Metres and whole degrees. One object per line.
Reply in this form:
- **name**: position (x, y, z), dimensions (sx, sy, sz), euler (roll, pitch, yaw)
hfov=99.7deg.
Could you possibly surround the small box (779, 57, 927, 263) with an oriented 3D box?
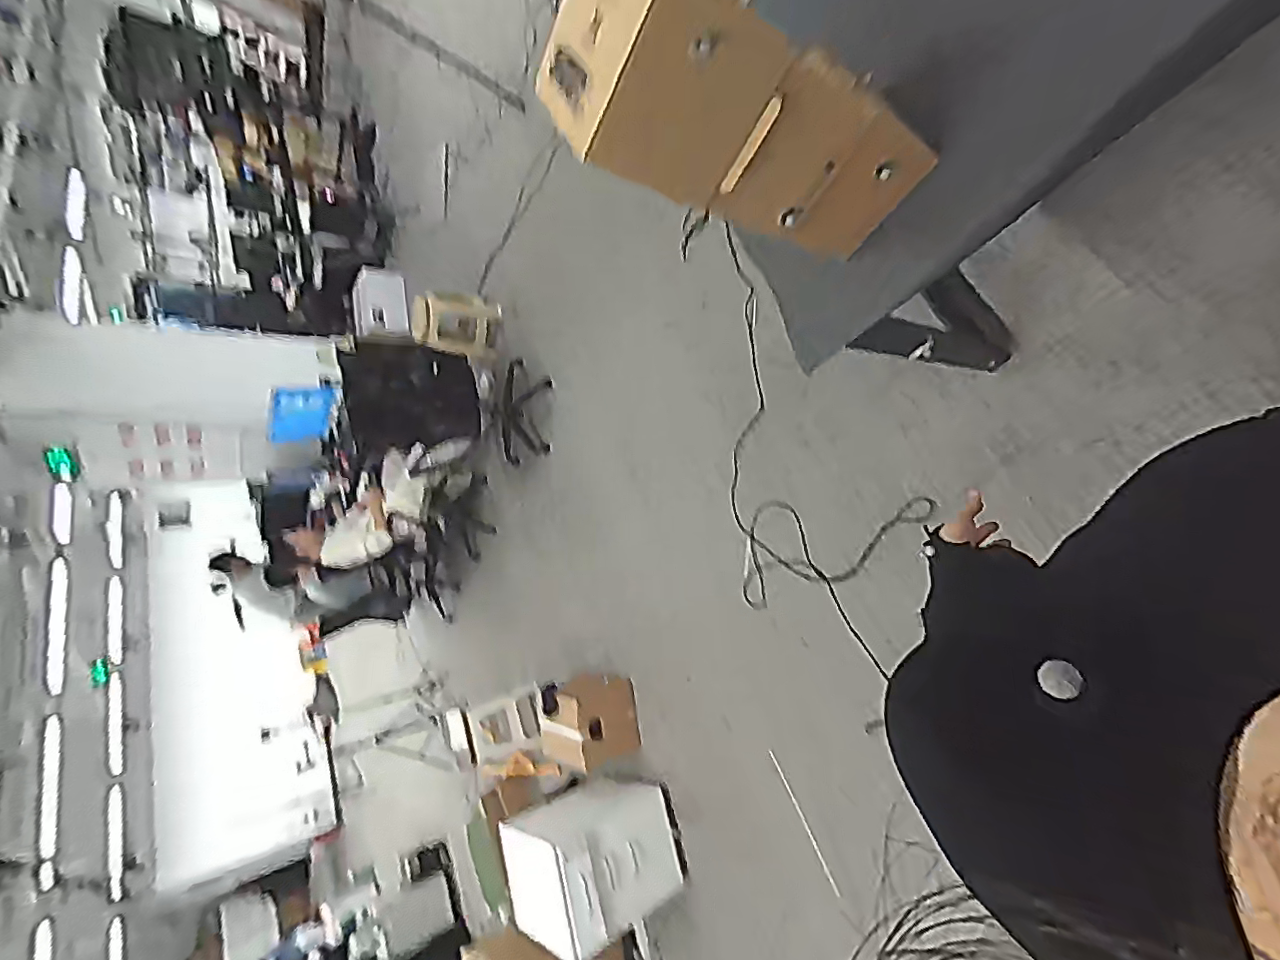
- **small box**: position (0.281, -0.448, 0.784), dimensions (0.179, 0.176, 0.168), euler (-49, 54, 43)
